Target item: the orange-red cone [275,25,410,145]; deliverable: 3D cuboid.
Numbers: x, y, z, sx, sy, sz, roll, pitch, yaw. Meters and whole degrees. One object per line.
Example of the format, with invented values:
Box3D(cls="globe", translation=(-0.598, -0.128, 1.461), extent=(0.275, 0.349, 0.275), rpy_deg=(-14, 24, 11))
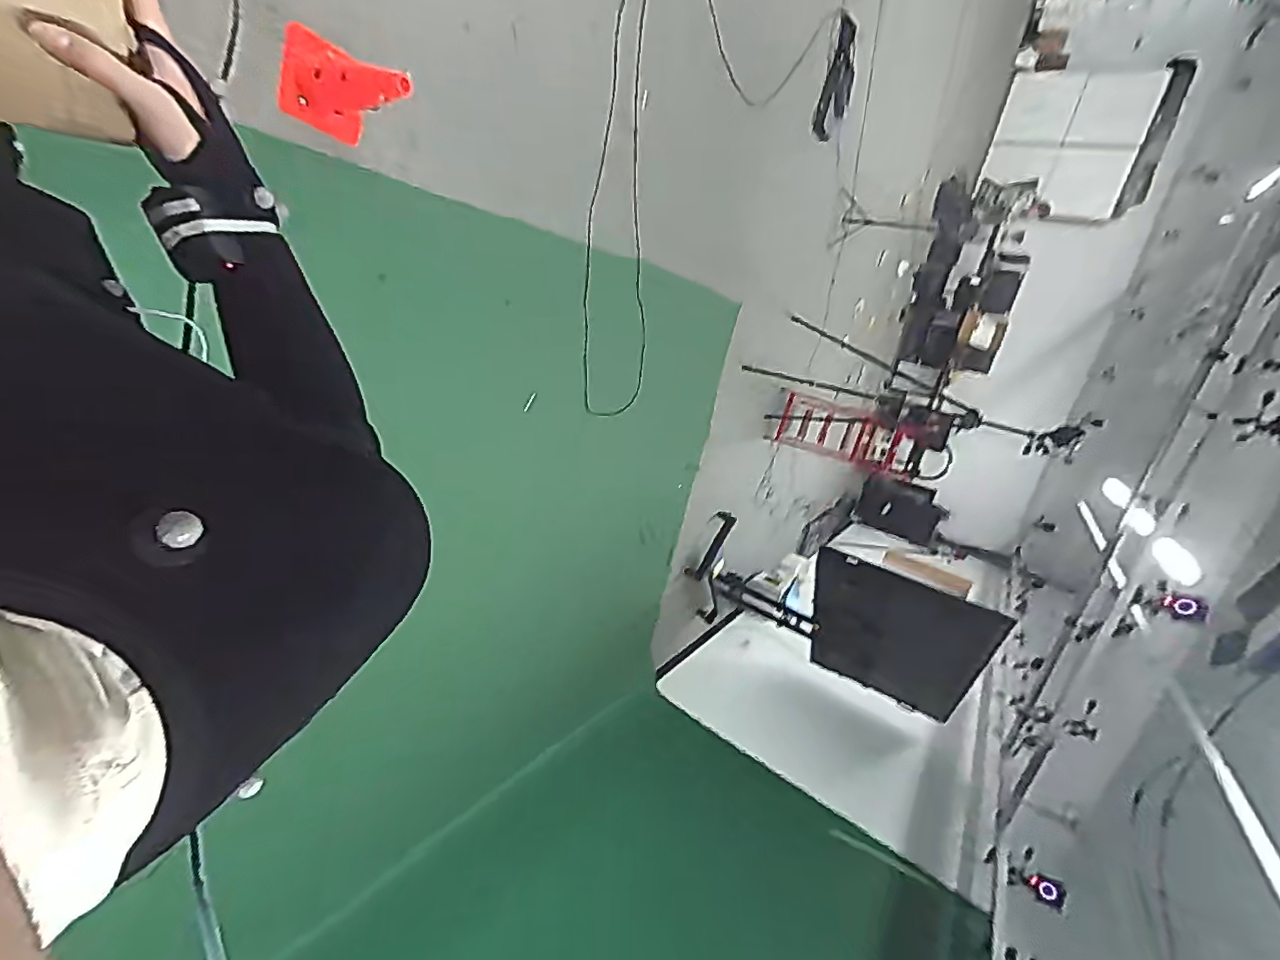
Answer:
Box3D(cls="orange-red cone", translation=(-0.667, -0.934, 1.288), extent=(0.199, 0.360, 0.198), rpy_deg=(-3, 113, -59))
